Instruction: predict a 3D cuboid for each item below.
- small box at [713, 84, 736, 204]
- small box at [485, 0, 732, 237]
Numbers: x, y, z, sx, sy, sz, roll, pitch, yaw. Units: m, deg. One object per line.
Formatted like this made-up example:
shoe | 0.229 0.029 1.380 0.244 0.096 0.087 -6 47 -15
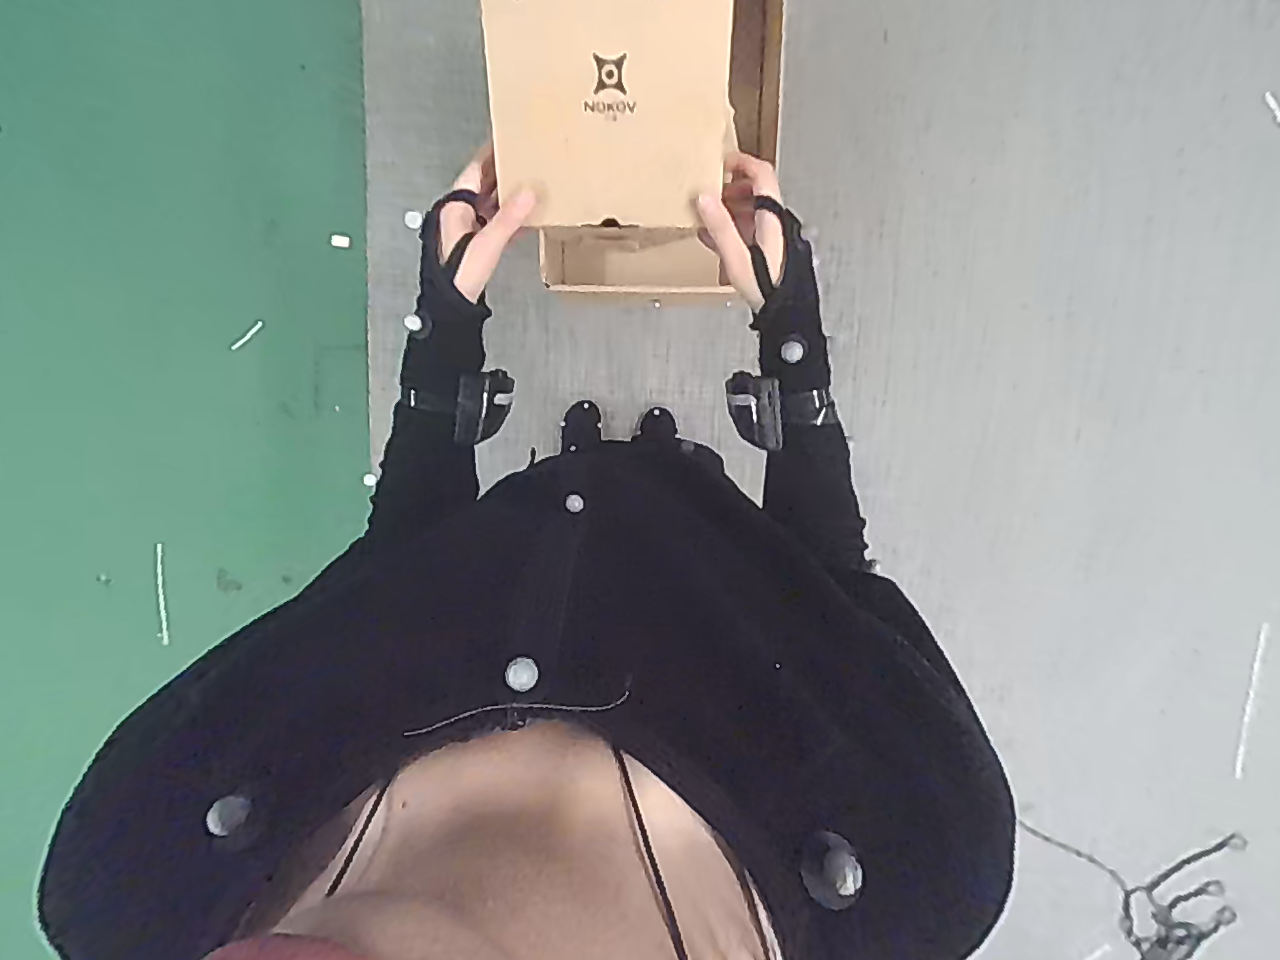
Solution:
small box | 0.034 -0.498 0.781 0.168 0.176 0.179 -12 97 3
small box | -0.023 -0.306 0.451 0.168 0.176 0.179 0 117 -2
